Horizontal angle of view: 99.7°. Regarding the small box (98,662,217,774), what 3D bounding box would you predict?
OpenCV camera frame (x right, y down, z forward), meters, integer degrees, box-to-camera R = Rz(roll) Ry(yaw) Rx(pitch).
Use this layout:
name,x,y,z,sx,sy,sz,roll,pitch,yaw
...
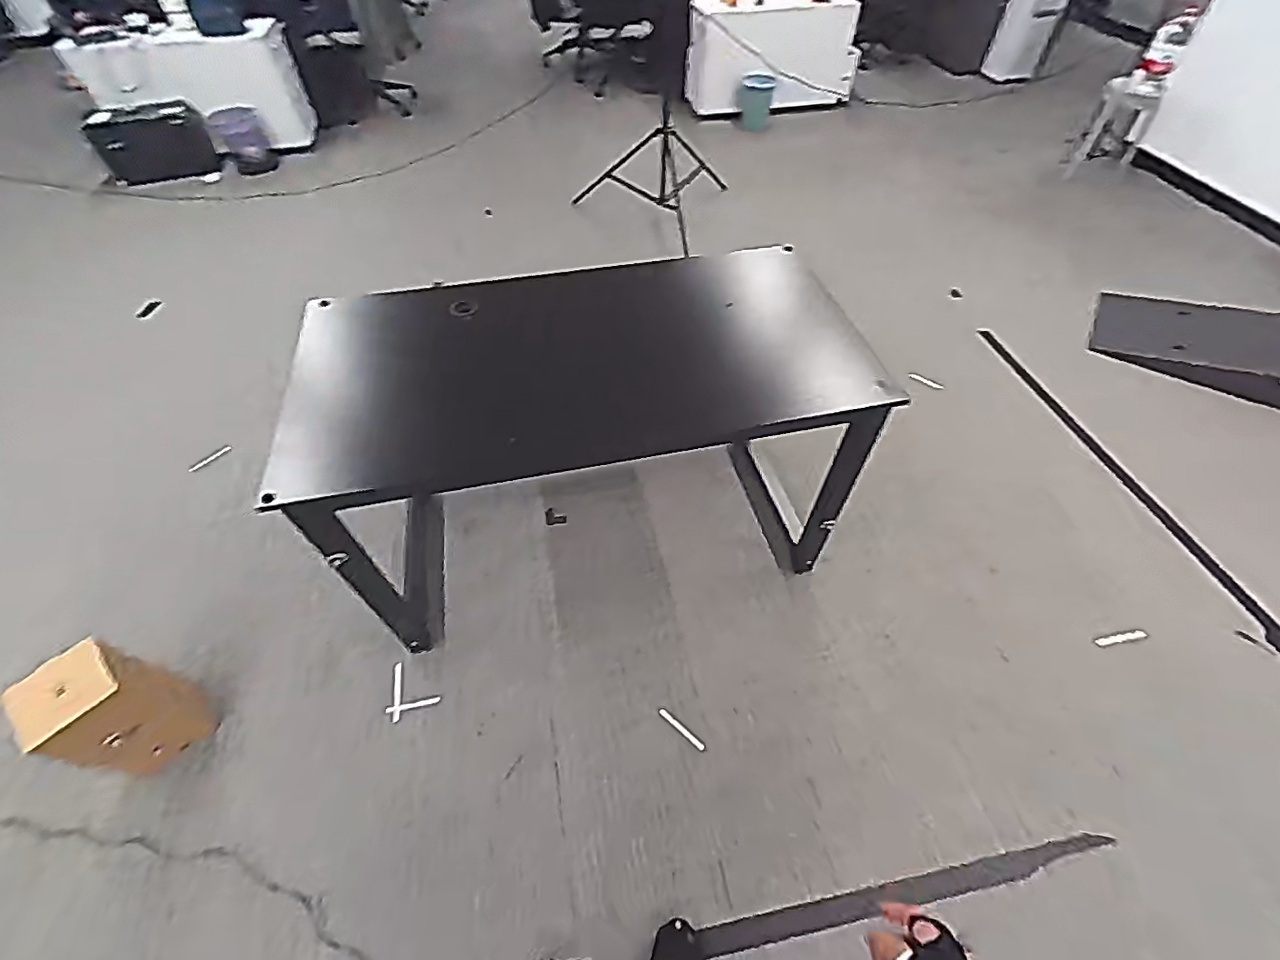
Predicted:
name,x,y,z,sx,sy,sz,roll,pitch,yaw
small box,-1.186,0.587,1.320,0.168,0.176,0.179,-36,60,-26

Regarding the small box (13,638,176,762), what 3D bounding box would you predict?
name,x,y,z,sx,sy,sz,roll,pitch,yaw
small box,-1.188,0.488,1.189,0.179,0.176,0.168,35,61,23
